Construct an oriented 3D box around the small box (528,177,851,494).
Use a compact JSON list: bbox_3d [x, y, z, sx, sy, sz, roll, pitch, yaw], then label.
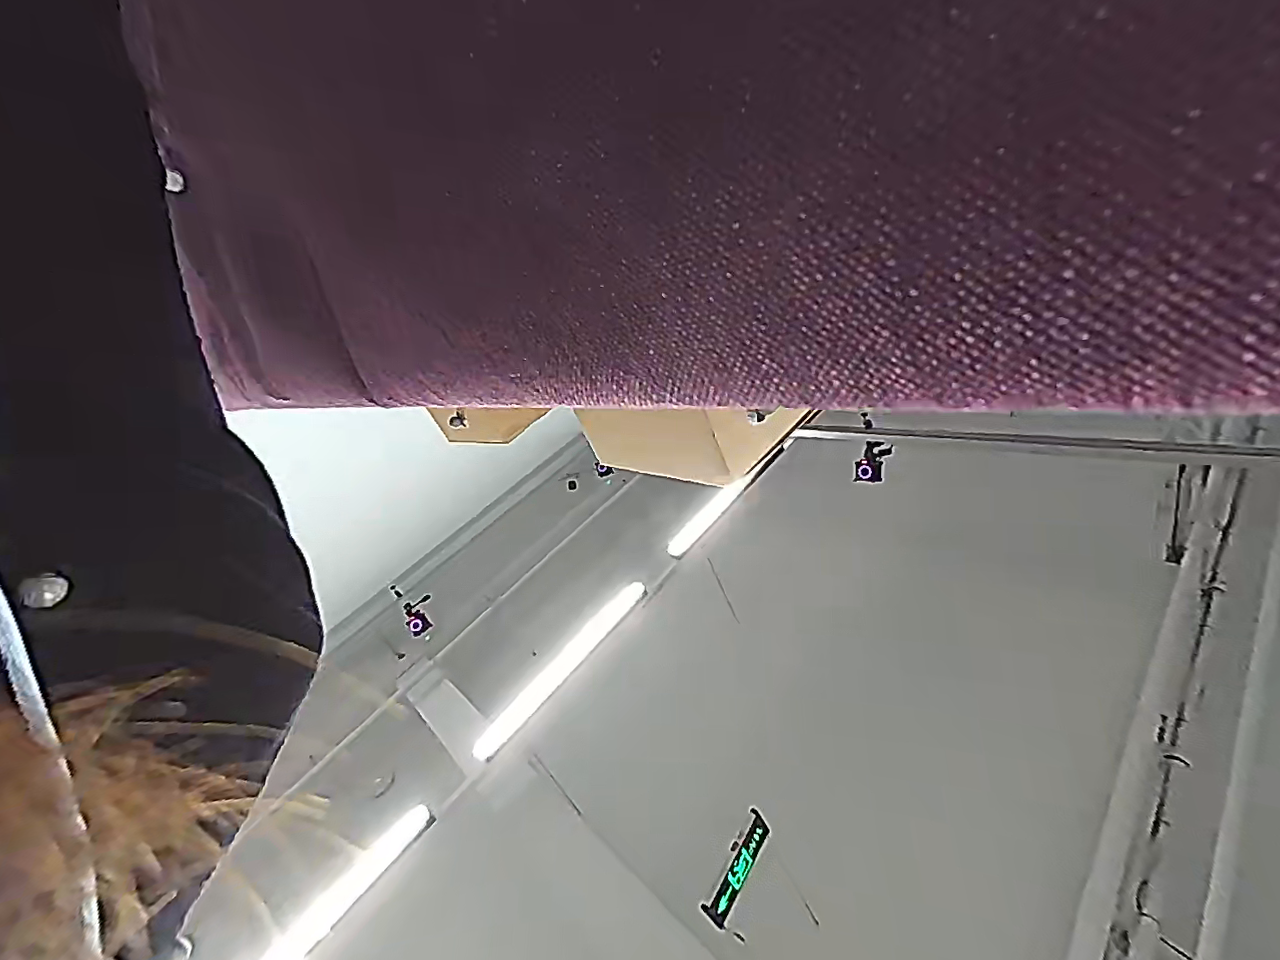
[{"bbox_3d":[0.040,-0.114,0.445,0.179,0.176,0.168,-43,-148,-27],"label":"small box"}]
